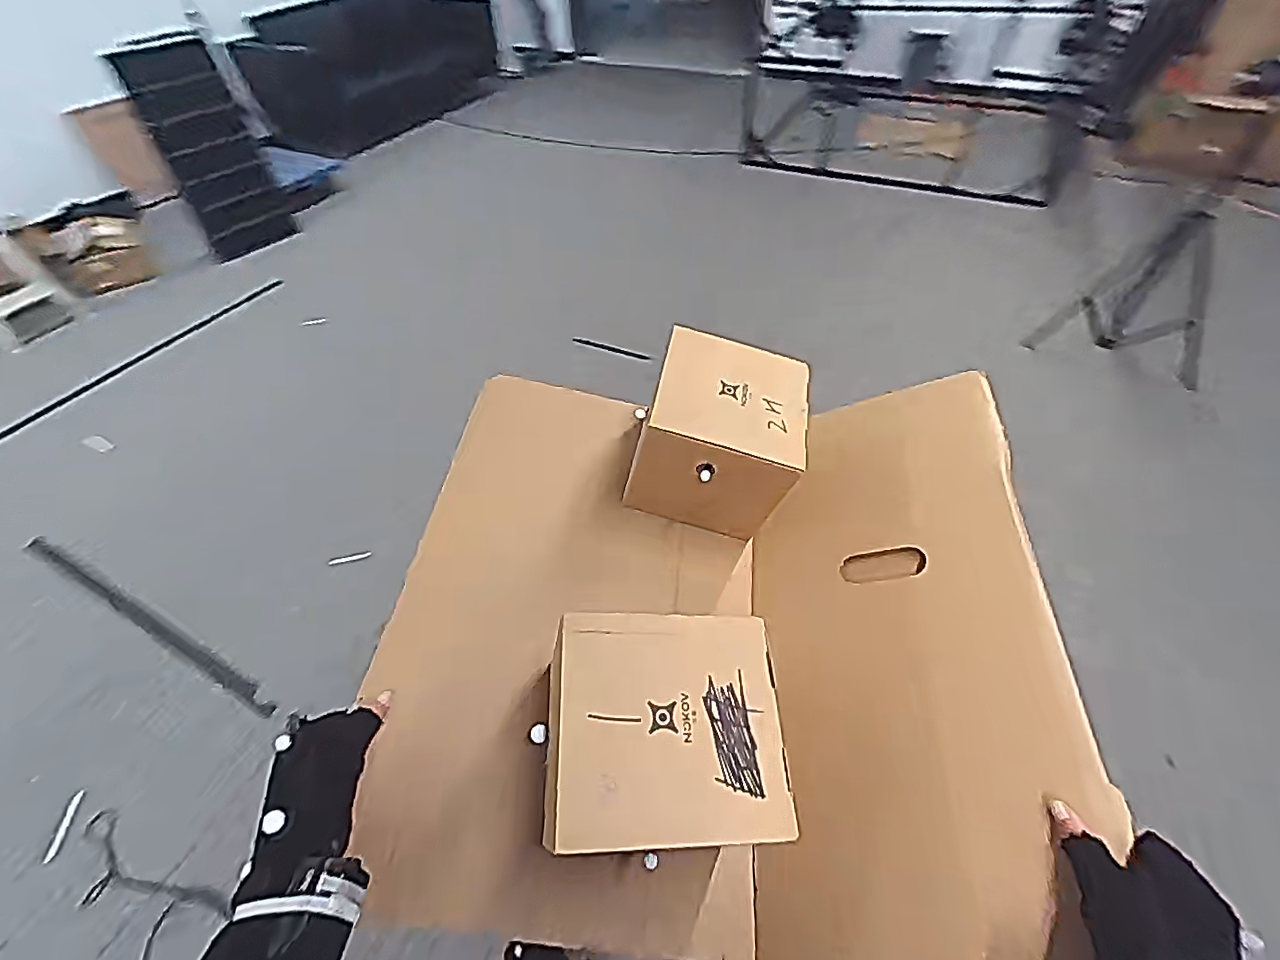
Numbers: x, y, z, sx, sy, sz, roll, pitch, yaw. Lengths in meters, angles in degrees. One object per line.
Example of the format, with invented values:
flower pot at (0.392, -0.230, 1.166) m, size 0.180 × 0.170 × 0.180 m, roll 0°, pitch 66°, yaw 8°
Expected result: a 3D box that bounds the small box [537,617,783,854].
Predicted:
small box at (0.003, 0.232, 0.490) m, size 0.179 × 0.176 × 0.168 m, roll 3°, pitch 57°, yaw -11°
